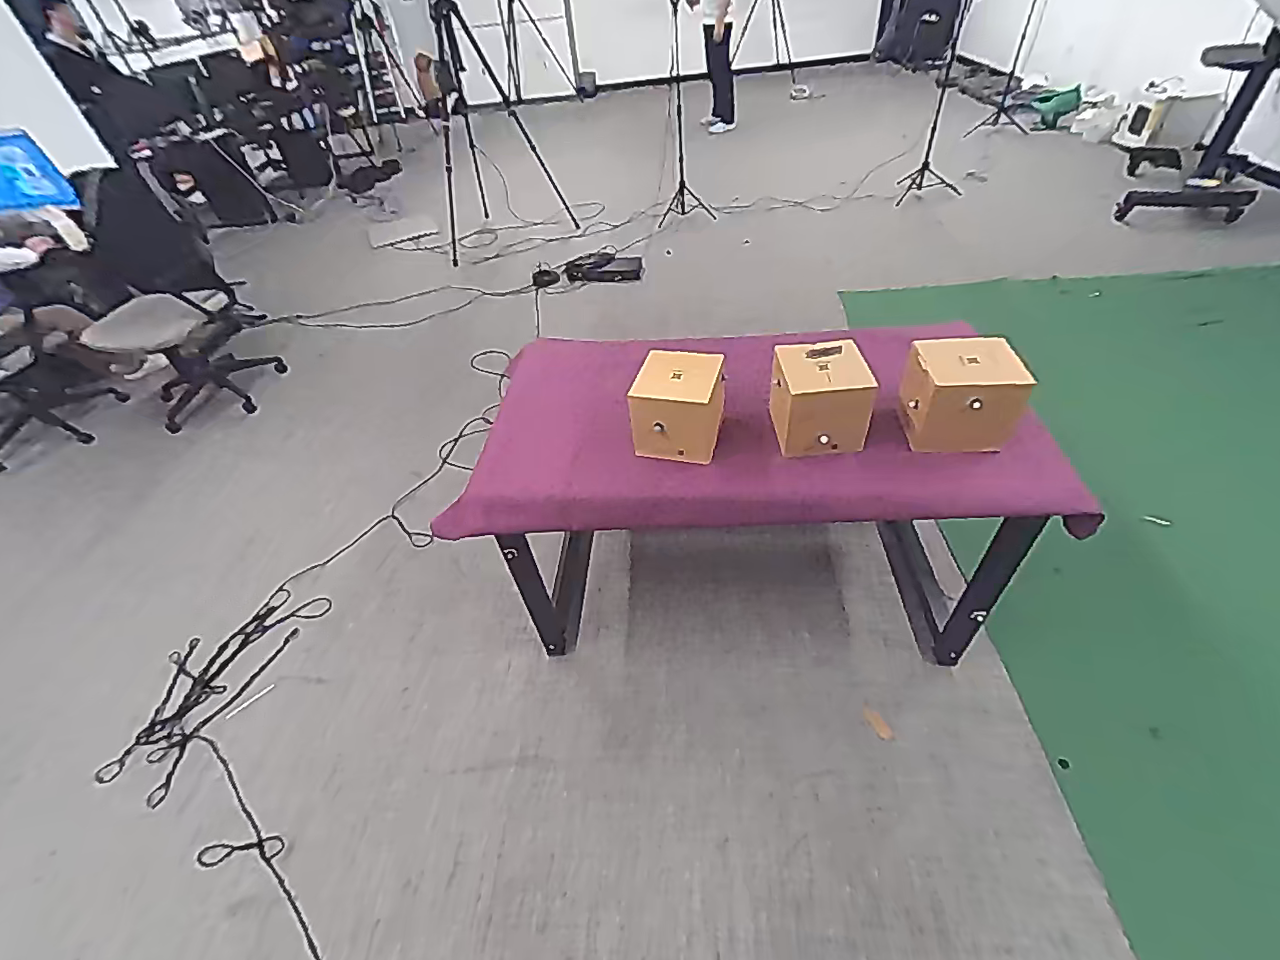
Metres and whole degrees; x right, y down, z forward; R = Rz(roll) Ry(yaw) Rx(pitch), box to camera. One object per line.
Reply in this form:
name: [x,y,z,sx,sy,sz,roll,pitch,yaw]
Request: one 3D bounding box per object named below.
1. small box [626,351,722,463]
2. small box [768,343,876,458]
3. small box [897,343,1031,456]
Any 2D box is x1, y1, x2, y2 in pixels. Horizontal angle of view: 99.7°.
small box: [0.080,-0.156,1.163,0.168,0.176,0.179,8,45,16]
small box: [0.370,-0.166,1.136,0.168,0.176,0.179,-4,45,4]
small box: [0.638,-0.162,1.097,0.179,0.176,0.168,1,44,9]
